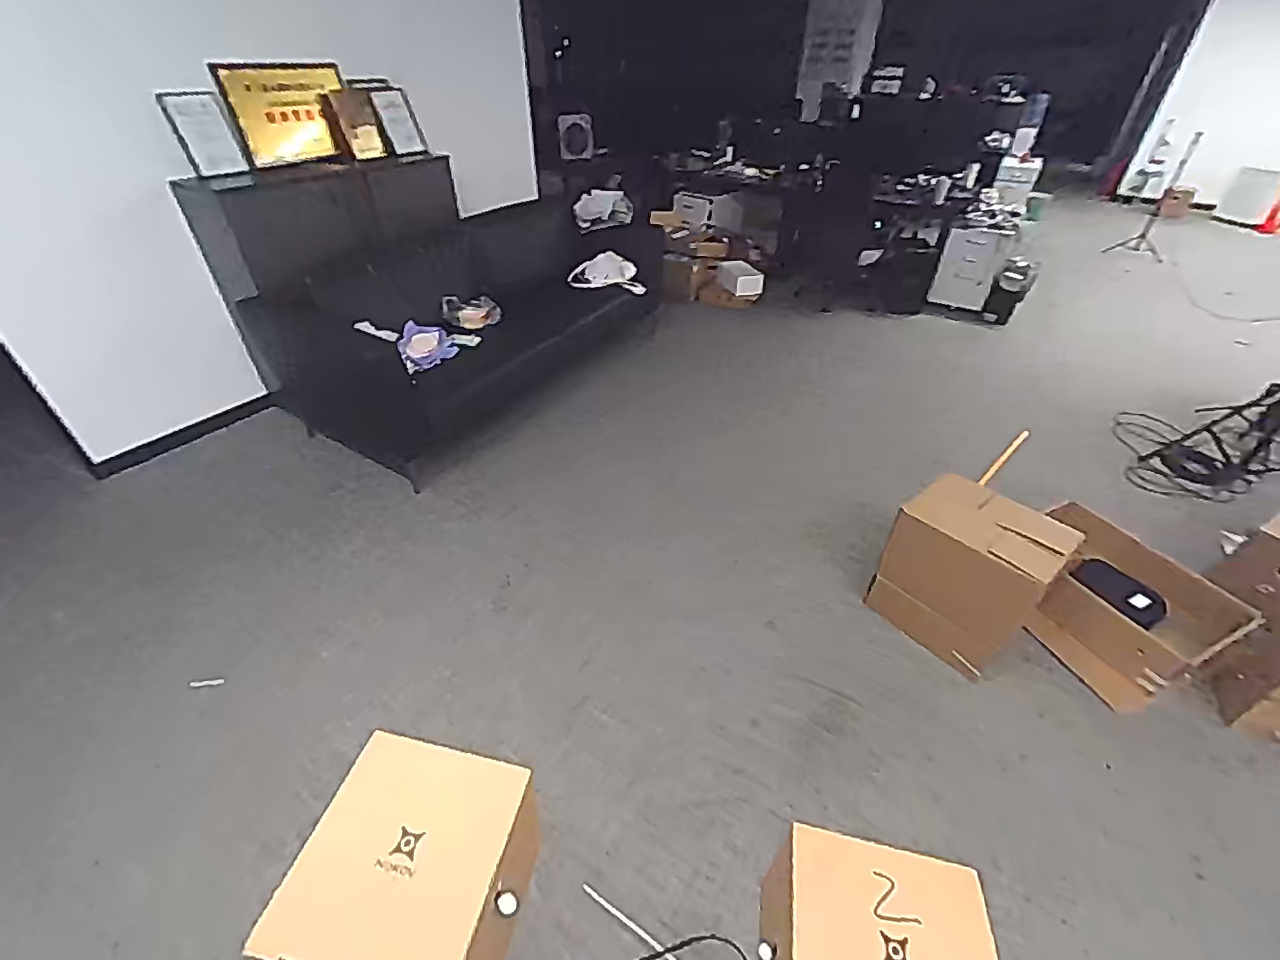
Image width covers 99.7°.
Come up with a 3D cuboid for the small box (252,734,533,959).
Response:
[{"bbox_3d":[-0.207,0.382,0.515,0.168,0.176,0.179,10,39,7],"label":"small box"}]
